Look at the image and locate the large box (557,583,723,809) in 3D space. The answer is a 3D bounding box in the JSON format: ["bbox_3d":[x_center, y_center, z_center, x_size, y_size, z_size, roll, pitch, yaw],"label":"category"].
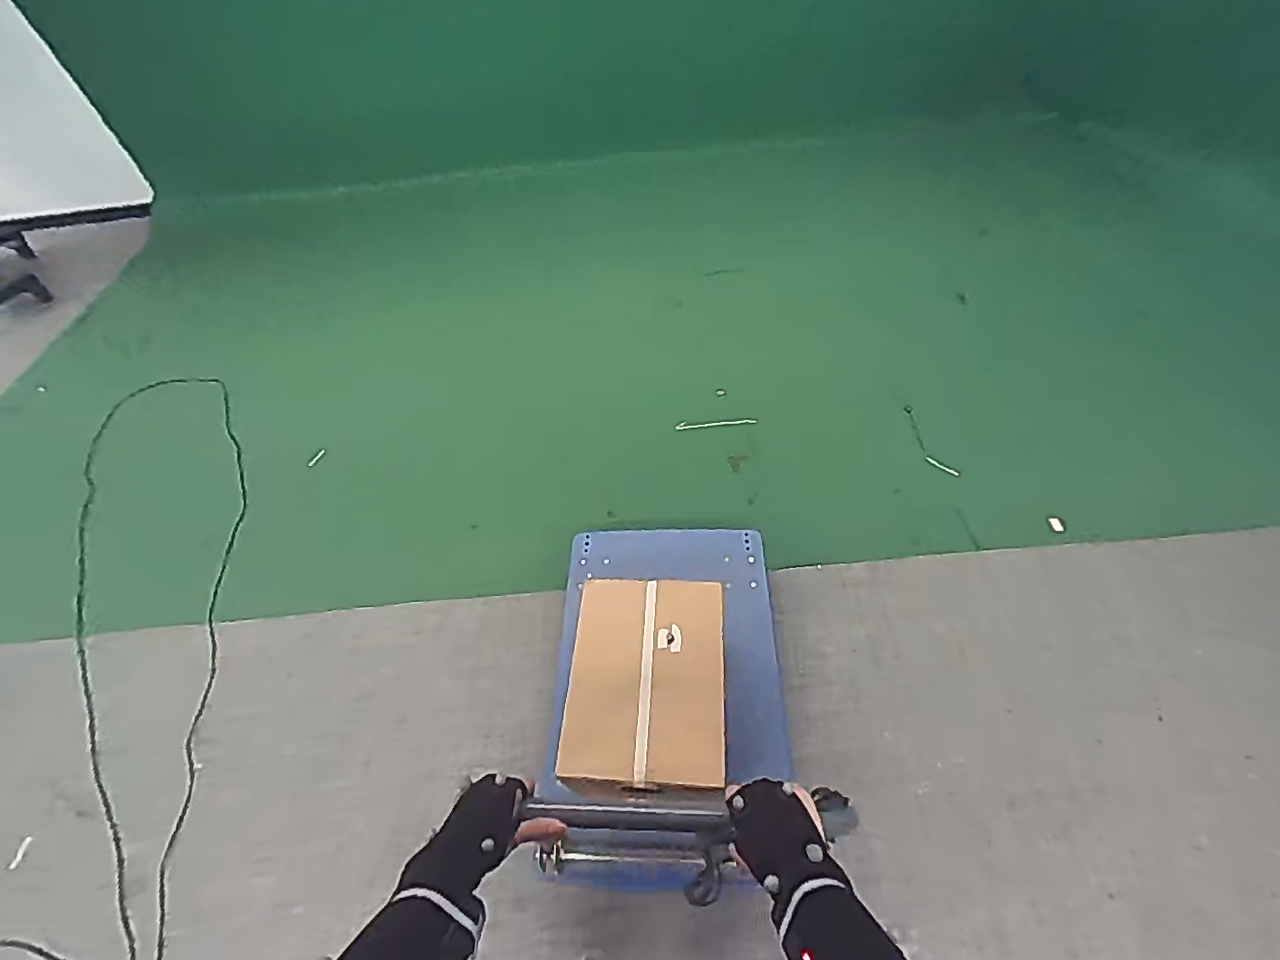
[{"bbox_3d":[0.022,0.485,1.218,0.320,0.320,0.408,1,52,6],"label":"large box"}]
